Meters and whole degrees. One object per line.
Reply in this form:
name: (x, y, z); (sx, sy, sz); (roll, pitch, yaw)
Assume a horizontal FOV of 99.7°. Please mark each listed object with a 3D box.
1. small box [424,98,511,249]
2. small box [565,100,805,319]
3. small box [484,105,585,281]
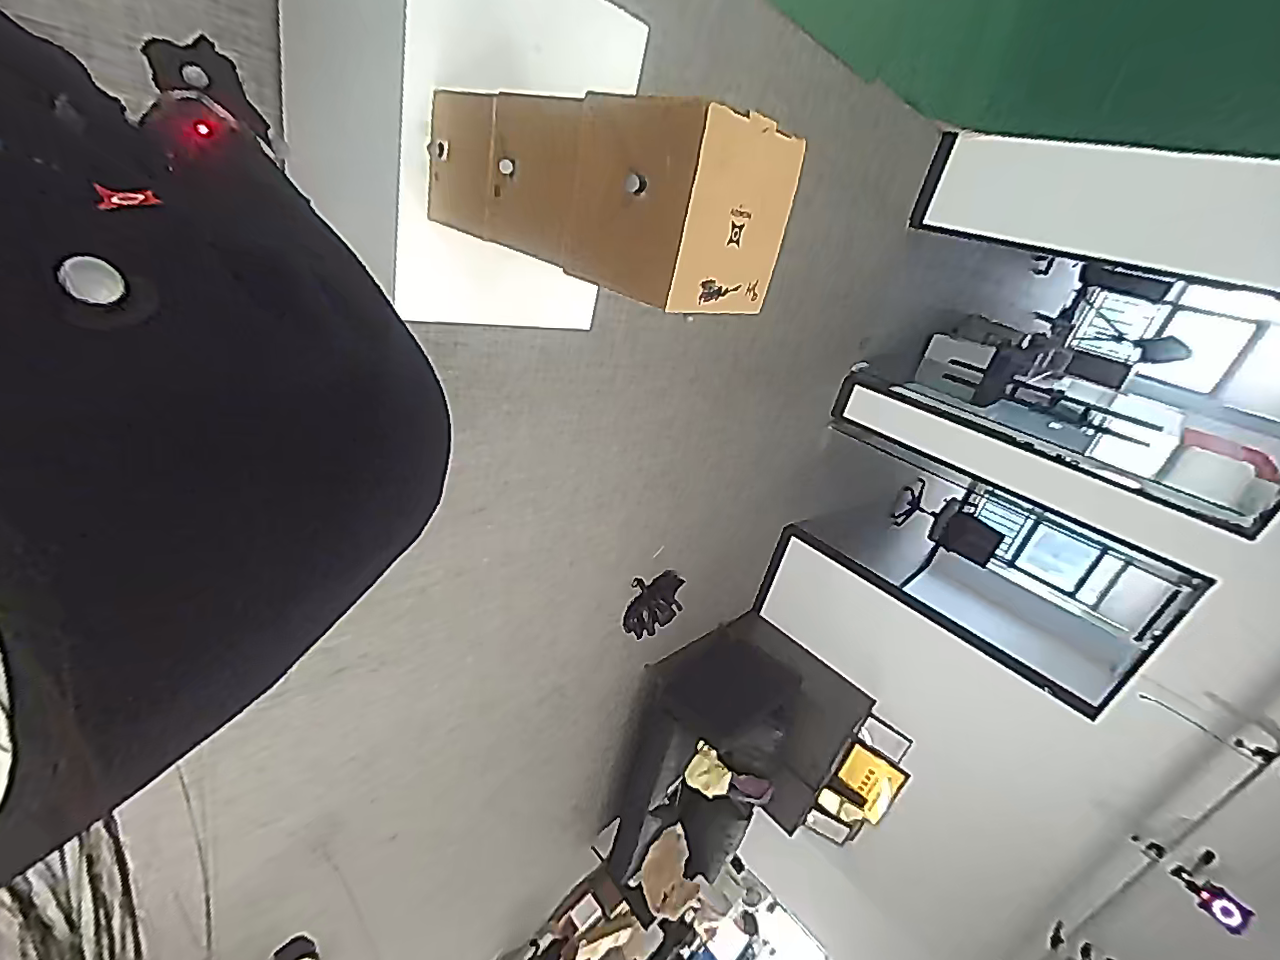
small box: (-0.182, -0.423, 0.765); (0.179, 0.176, 0.168); (-14, 126, -42)
small box: (0.038, -0.278, 0.570); (0.168, 0.176, 0.179); (-15, 127, -42)
small box: (-0.068, -0.350, 0.672); (0.179, 0.176, 0.168); (-18, 130, -43)
